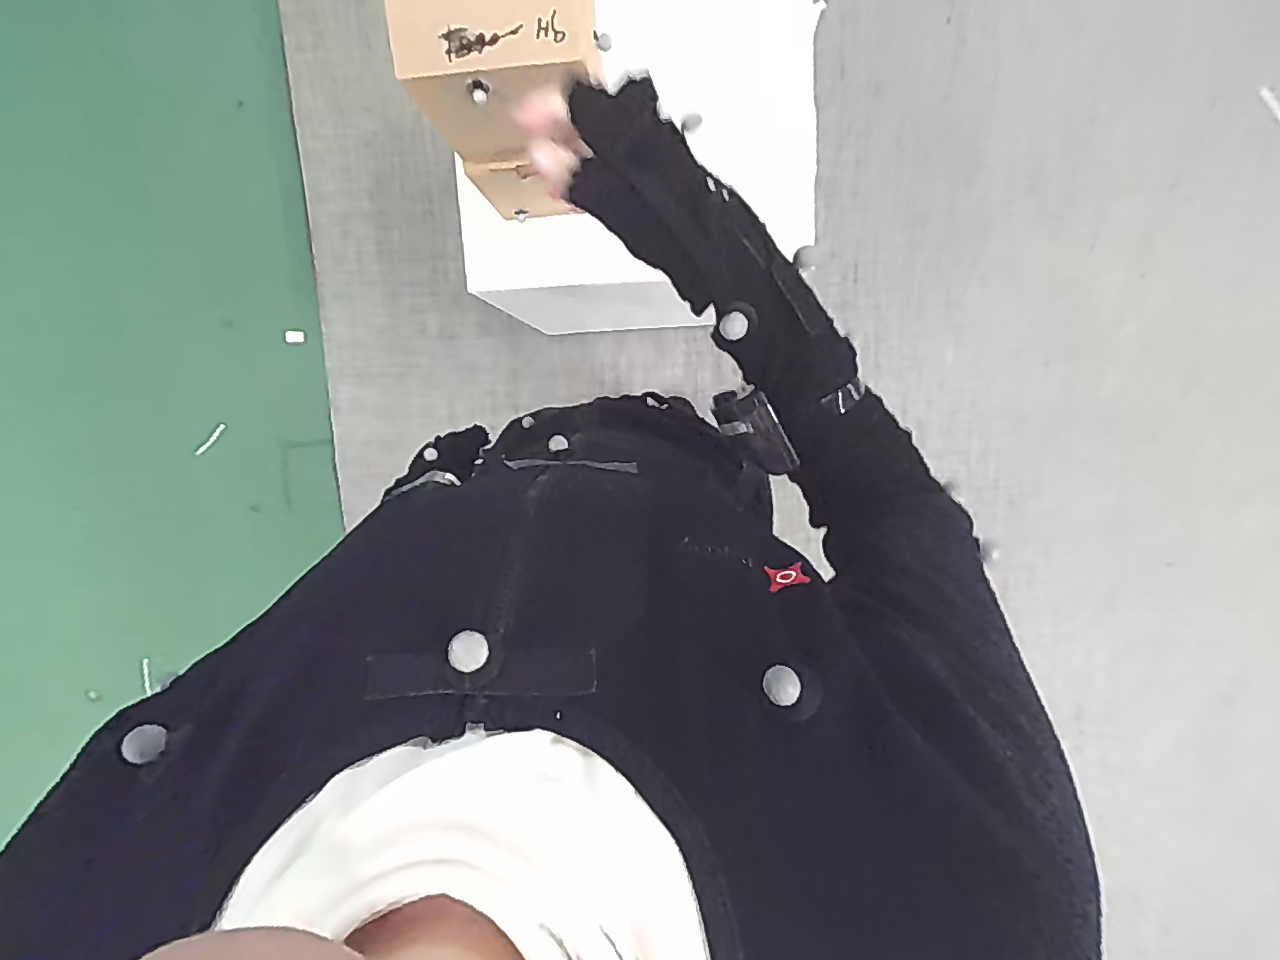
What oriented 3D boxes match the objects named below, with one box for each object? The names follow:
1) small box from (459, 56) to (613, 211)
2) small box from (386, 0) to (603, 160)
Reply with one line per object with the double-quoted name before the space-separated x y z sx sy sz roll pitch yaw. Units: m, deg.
"small box" -0.126 -0.459 0.689 0.168 0.176 0.179 -3 98 3
"small box" -0.130 -0.446 0.526 0.168 0.176 0.179 -4 98 3
